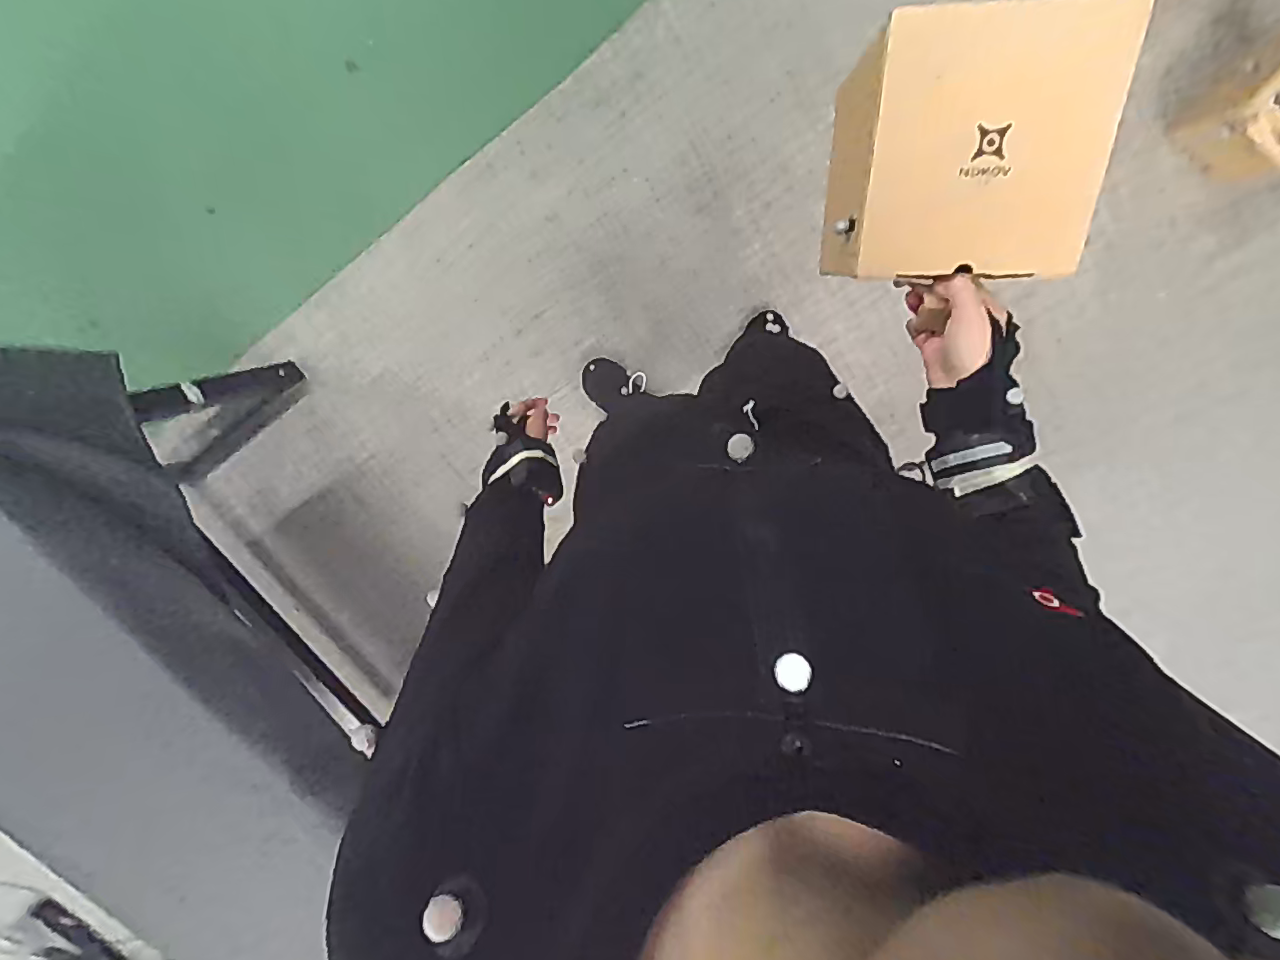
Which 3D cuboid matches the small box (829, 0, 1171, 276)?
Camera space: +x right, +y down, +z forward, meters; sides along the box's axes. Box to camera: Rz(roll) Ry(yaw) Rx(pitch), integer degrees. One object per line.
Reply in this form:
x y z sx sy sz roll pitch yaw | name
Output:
0.269 -0.272 0.460 0.168 0.176 0.179 3 114 6 | small box
